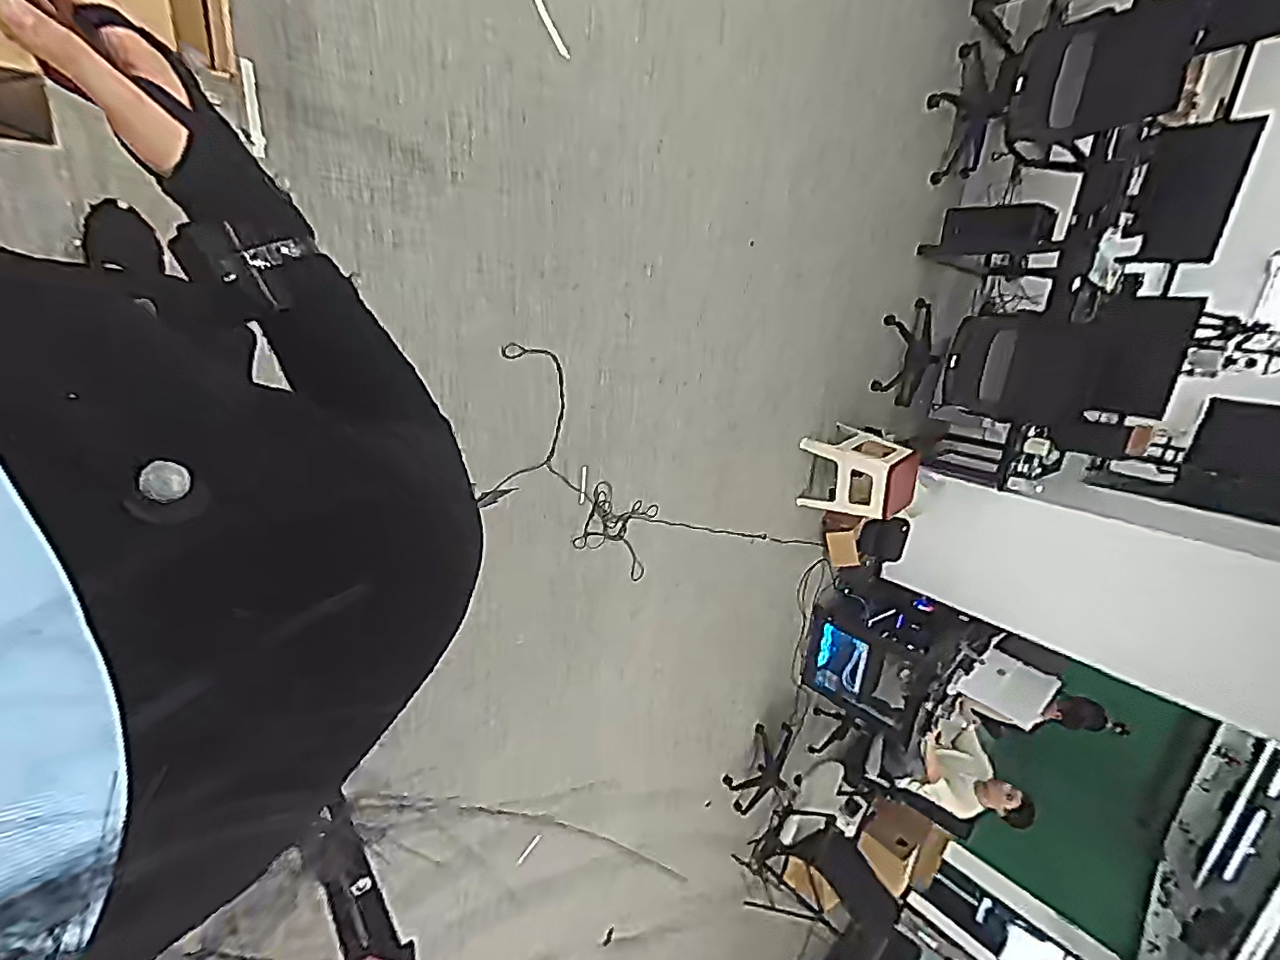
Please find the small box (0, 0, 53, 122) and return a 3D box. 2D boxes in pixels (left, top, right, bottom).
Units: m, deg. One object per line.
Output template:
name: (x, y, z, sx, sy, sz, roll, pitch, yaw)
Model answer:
small box: (-0.434, -0.304, 0.269, 0.168, 0.179, 0.176, -14, 113, -43)
